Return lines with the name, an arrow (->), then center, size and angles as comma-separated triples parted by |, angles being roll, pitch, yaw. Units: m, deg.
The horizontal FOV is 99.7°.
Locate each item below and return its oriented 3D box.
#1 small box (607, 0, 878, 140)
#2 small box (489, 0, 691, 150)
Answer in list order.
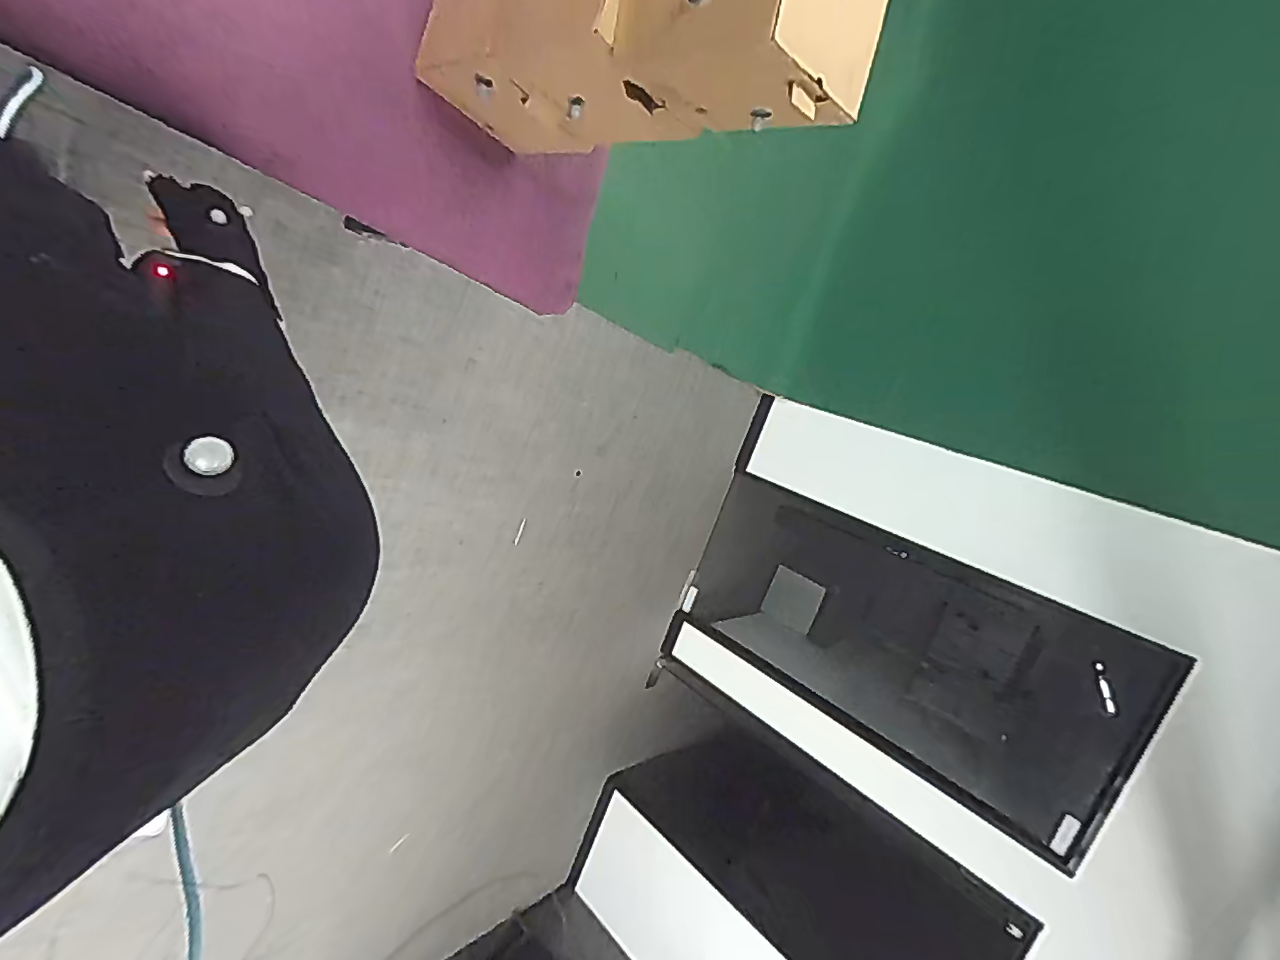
small box -> 0.090, -0.420, 0.473 | 0.168, 0.176, 0.179 | -11, 118, -48
small box -> -0.032, -0.477, 0.565 | 0.168, 0.176, 0.179 | 6, 105, -52
